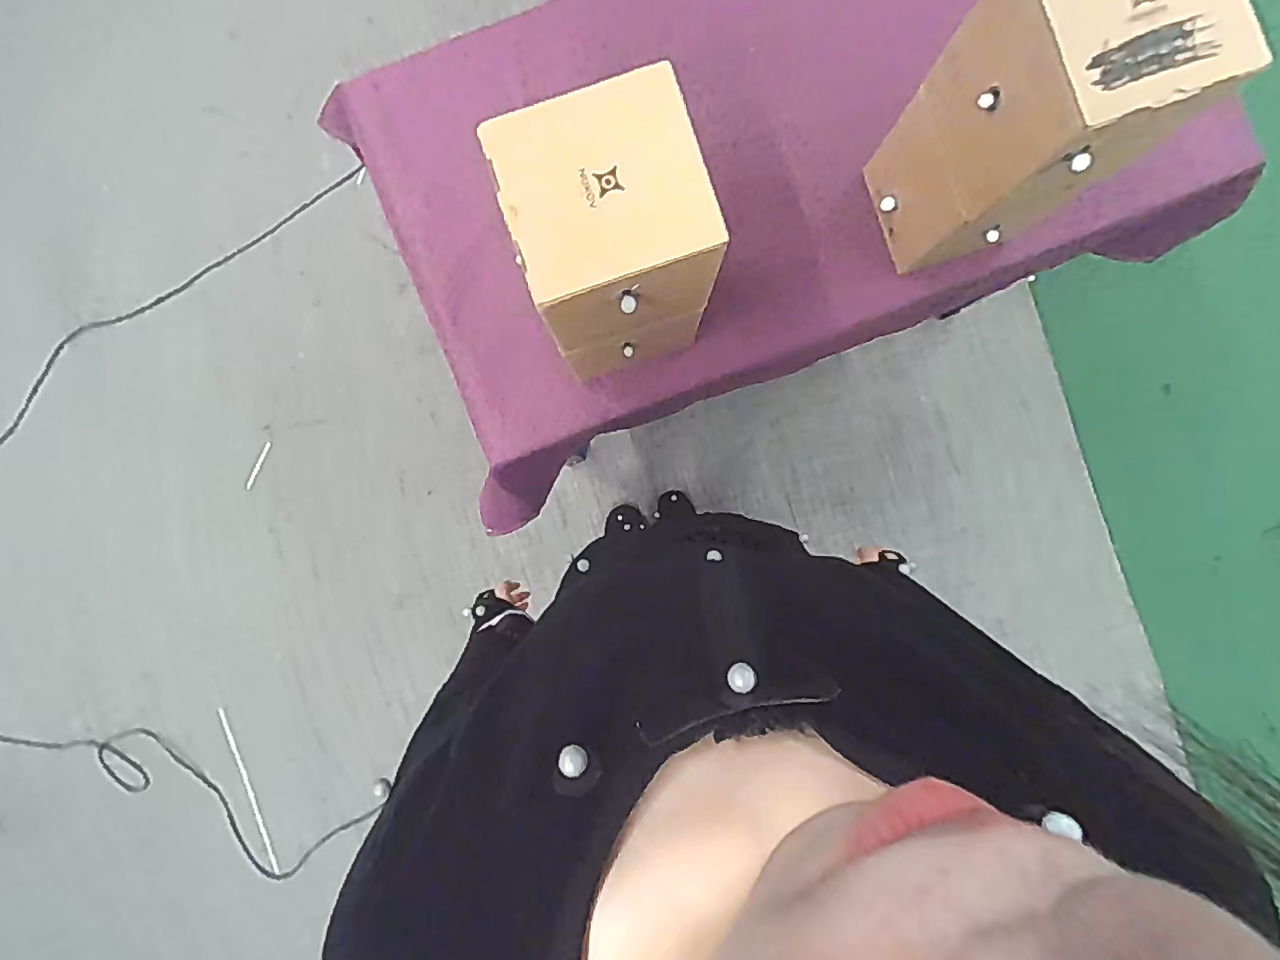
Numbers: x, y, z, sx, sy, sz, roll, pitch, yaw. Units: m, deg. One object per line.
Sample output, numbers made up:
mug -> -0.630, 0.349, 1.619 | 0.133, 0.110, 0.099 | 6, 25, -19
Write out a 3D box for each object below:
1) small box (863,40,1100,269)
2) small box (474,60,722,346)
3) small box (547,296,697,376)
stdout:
small box -> 0.423, -0.403, 0.701 | 0.179, 0.176, 0.168 | -19, 89, 1
small box -> -0.035, -0.253, 0.538 | 0.179, 0.176, 0.168 | -19, 89, 1
small box -> -0.038, -0.248, 0.701 | 0.179, 0.176, 0.168 | -18, 89, 0
